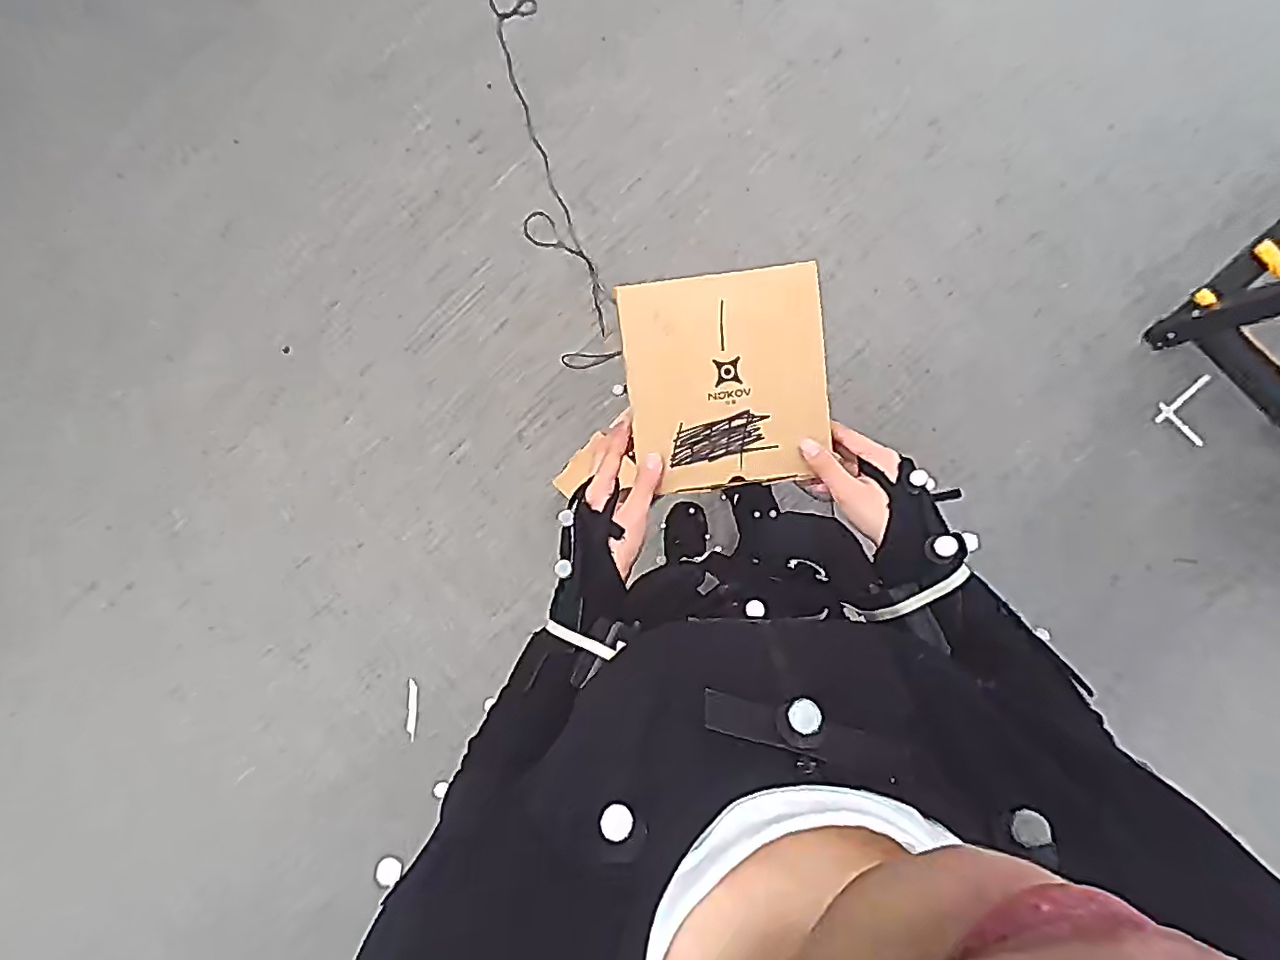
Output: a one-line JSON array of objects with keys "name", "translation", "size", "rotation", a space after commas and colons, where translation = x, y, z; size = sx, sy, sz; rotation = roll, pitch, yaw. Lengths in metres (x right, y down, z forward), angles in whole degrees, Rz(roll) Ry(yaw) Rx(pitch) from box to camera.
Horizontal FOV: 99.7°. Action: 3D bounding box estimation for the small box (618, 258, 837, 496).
[{"name": "small box", "translation": [0.073, -0.091, 0.512], "size": [0.168, 0.176, 0.179], "rotation": [-7, 97, 0]}]
